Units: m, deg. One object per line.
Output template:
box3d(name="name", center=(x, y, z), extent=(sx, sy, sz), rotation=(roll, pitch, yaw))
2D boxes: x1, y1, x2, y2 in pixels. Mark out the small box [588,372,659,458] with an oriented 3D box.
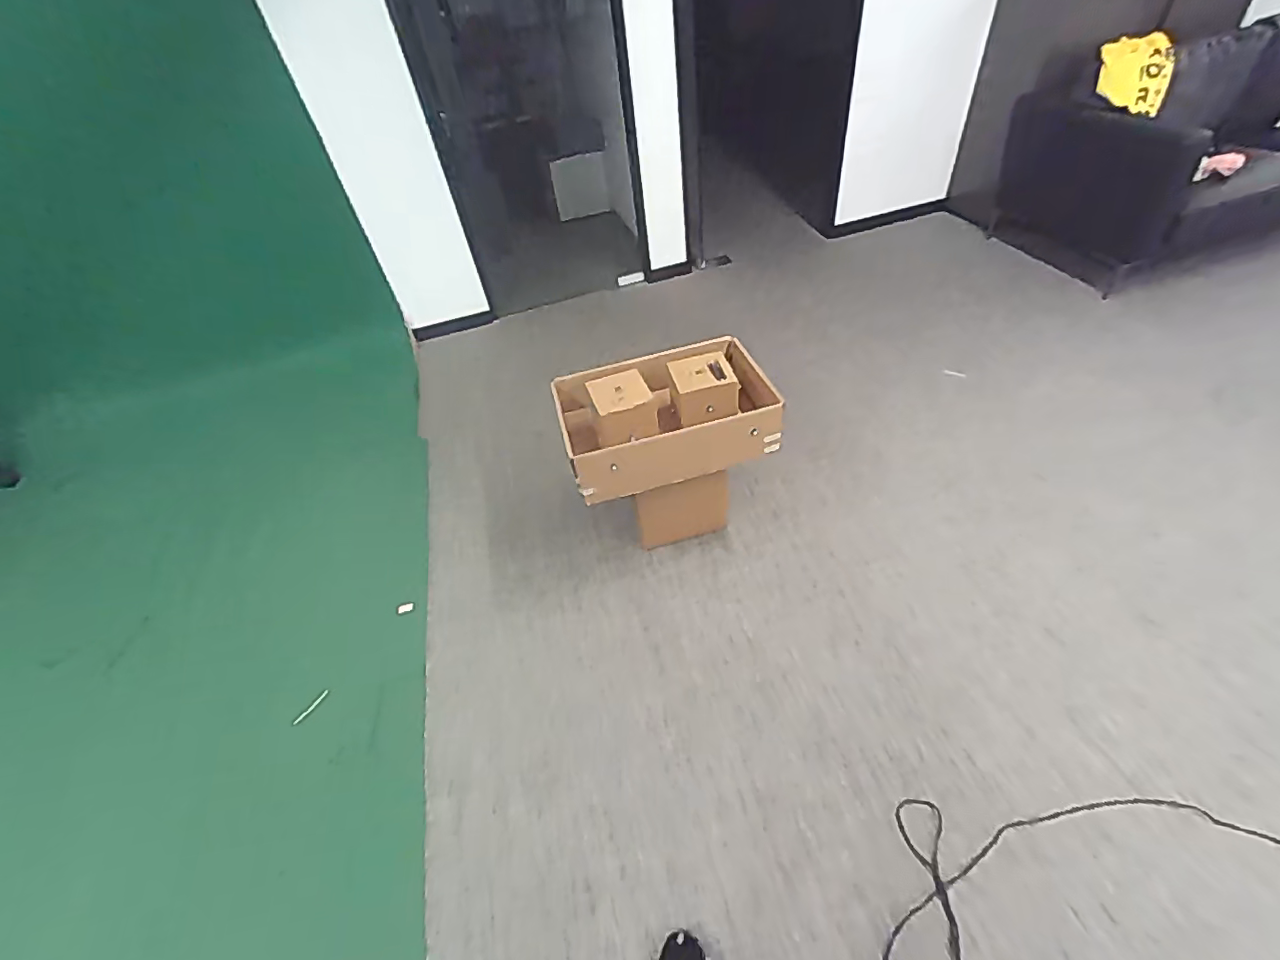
box3d(name="small box", center=(-0.049, -0.195, 1.628), extent=(0.168, 0.176, 0.179), rotation=(-17, 46, -8))
